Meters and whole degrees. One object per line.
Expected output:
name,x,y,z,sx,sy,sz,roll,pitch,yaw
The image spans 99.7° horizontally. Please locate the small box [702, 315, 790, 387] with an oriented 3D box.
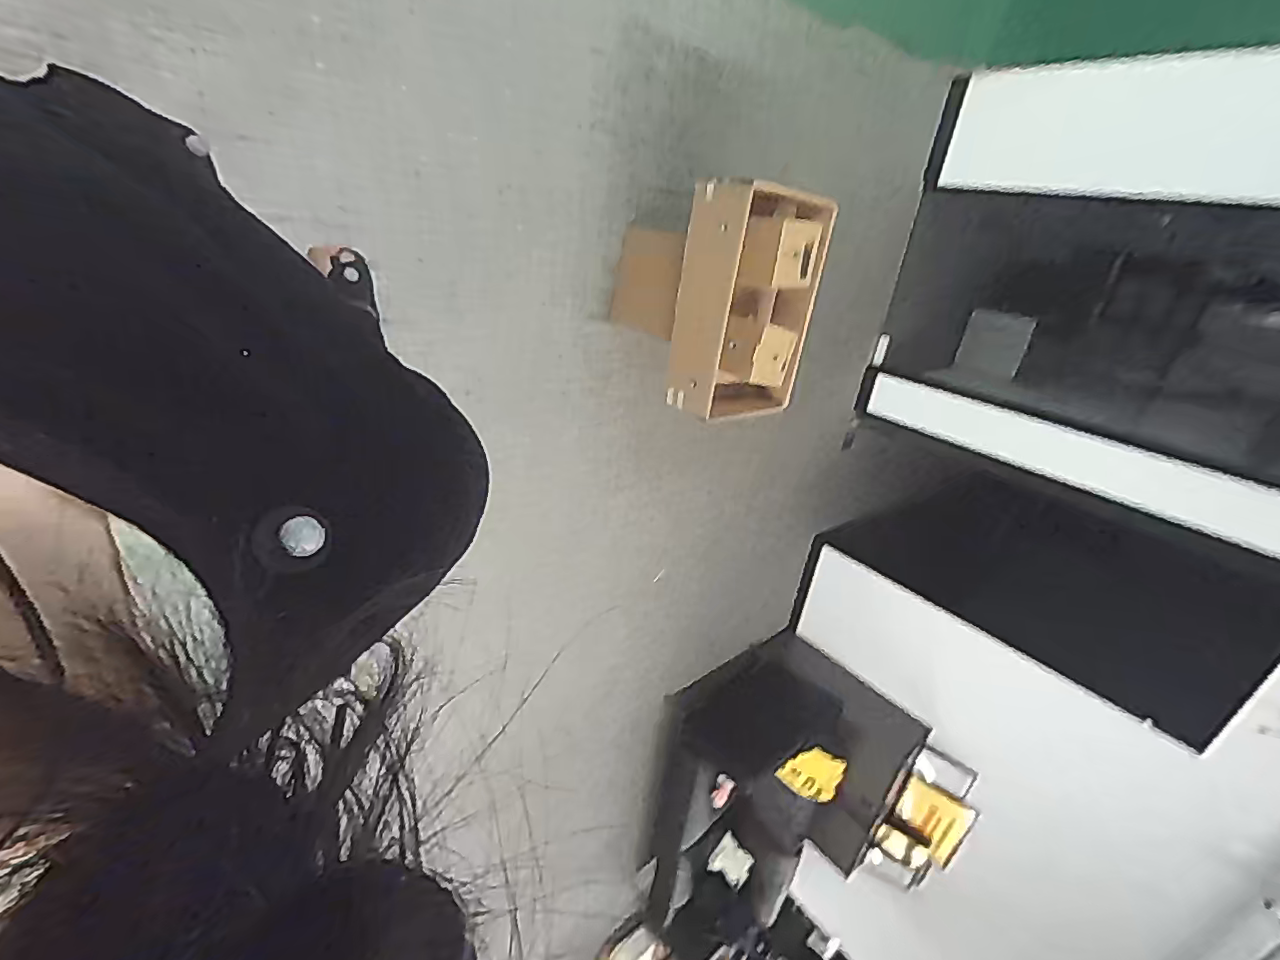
small box,0.312,-0.388,1.620,0.179,0.176,0.168,-1,114,-44
